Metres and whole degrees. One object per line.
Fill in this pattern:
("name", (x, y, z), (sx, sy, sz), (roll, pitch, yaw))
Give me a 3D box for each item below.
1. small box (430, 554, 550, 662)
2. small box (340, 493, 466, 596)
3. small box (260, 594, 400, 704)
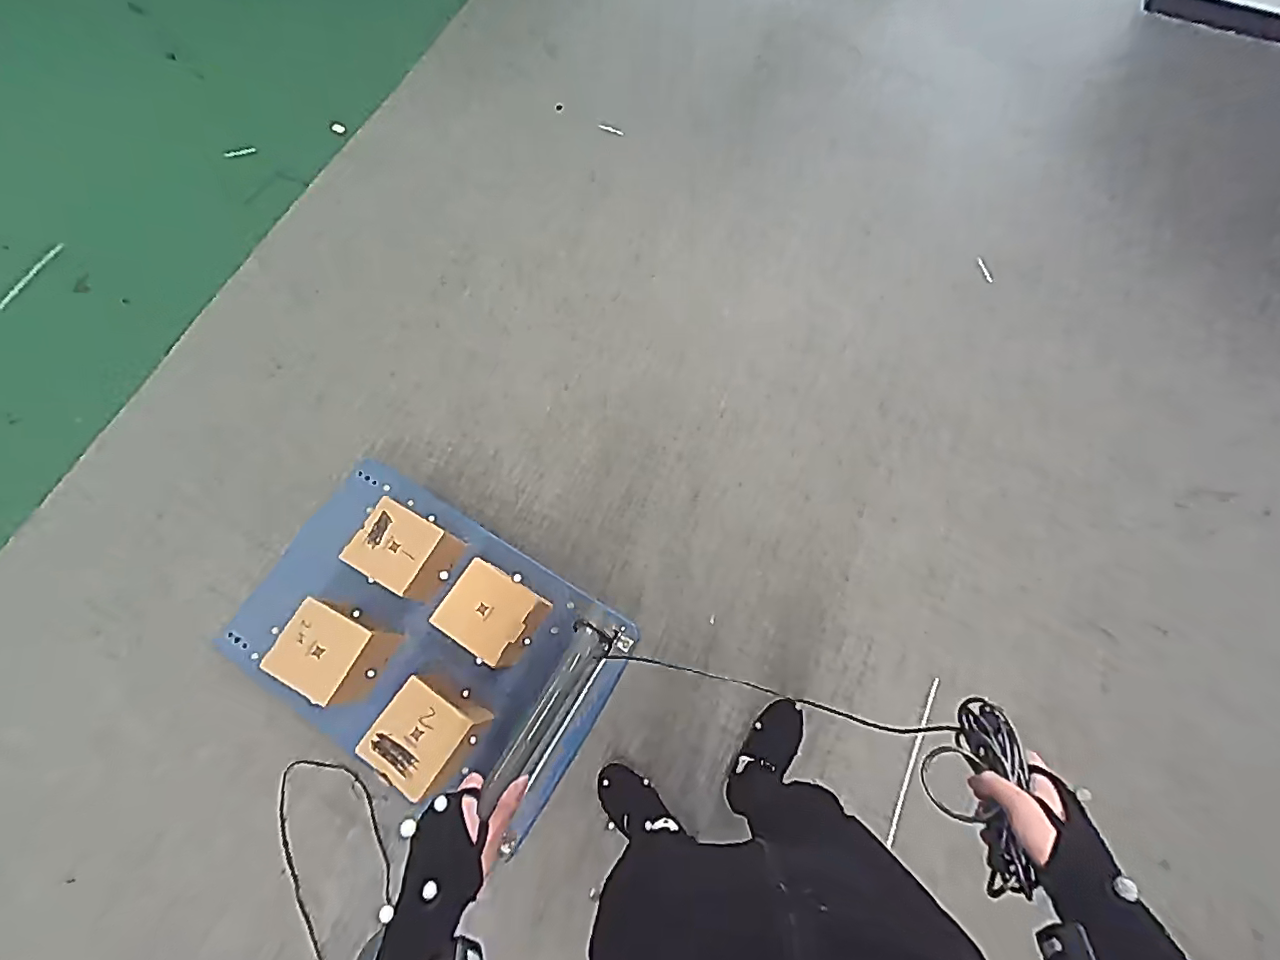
("small box", (-0.329, 0.295, 1.221), (0.179, 0.176, 0.168), (31, 75, 10))
("small box", (-0.544, 0.159, 1.265), (0.179, 0.176, 0.168), (29, 76, 9))
("small box", (-0.673, 0.371, 1.199), (0.179, 0.176, 0.168), (27, 74, 9))
